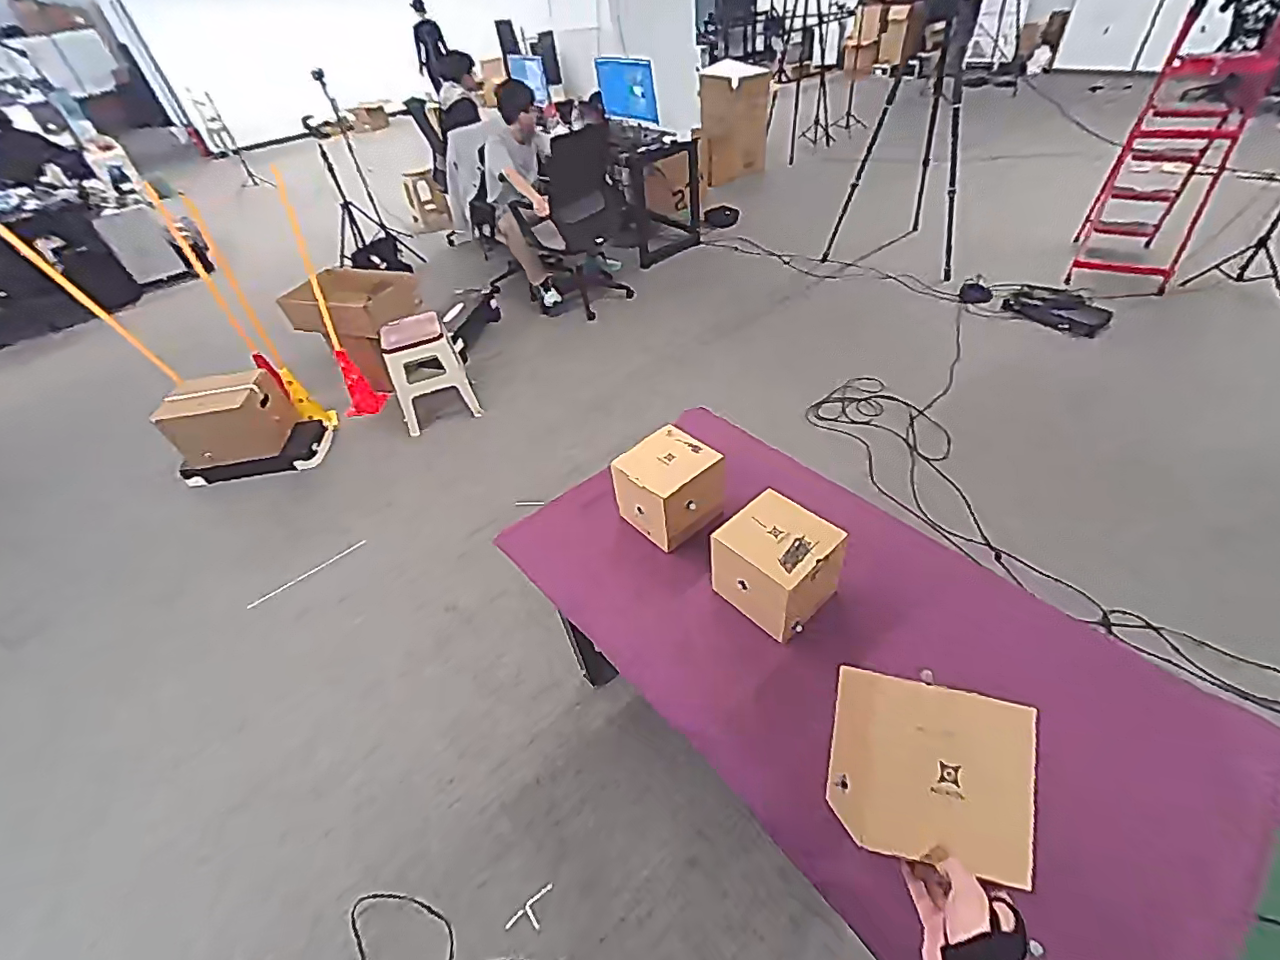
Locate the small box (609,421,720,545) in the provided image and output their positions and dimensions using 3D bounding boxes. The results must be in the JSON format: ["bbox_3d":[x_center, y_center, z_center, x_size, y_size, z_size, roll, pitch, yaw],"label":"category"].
[{"bbox_3d":[0.060,0.008,1.171,0.179,0.176,0.168,-36,51,-24],"label":"small box"}]

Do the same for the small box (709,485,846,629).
[{"bbox_3d":[0.248,0.147,0.997,0.168,0.176,0.179,-35,48,-25],"label":"small box"}]

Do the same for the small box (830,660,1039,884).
[{"bbox_3d":[0.333,0.323,0.641,0.168,0.176,0.179,10,76,9],"label":"small box"}]
